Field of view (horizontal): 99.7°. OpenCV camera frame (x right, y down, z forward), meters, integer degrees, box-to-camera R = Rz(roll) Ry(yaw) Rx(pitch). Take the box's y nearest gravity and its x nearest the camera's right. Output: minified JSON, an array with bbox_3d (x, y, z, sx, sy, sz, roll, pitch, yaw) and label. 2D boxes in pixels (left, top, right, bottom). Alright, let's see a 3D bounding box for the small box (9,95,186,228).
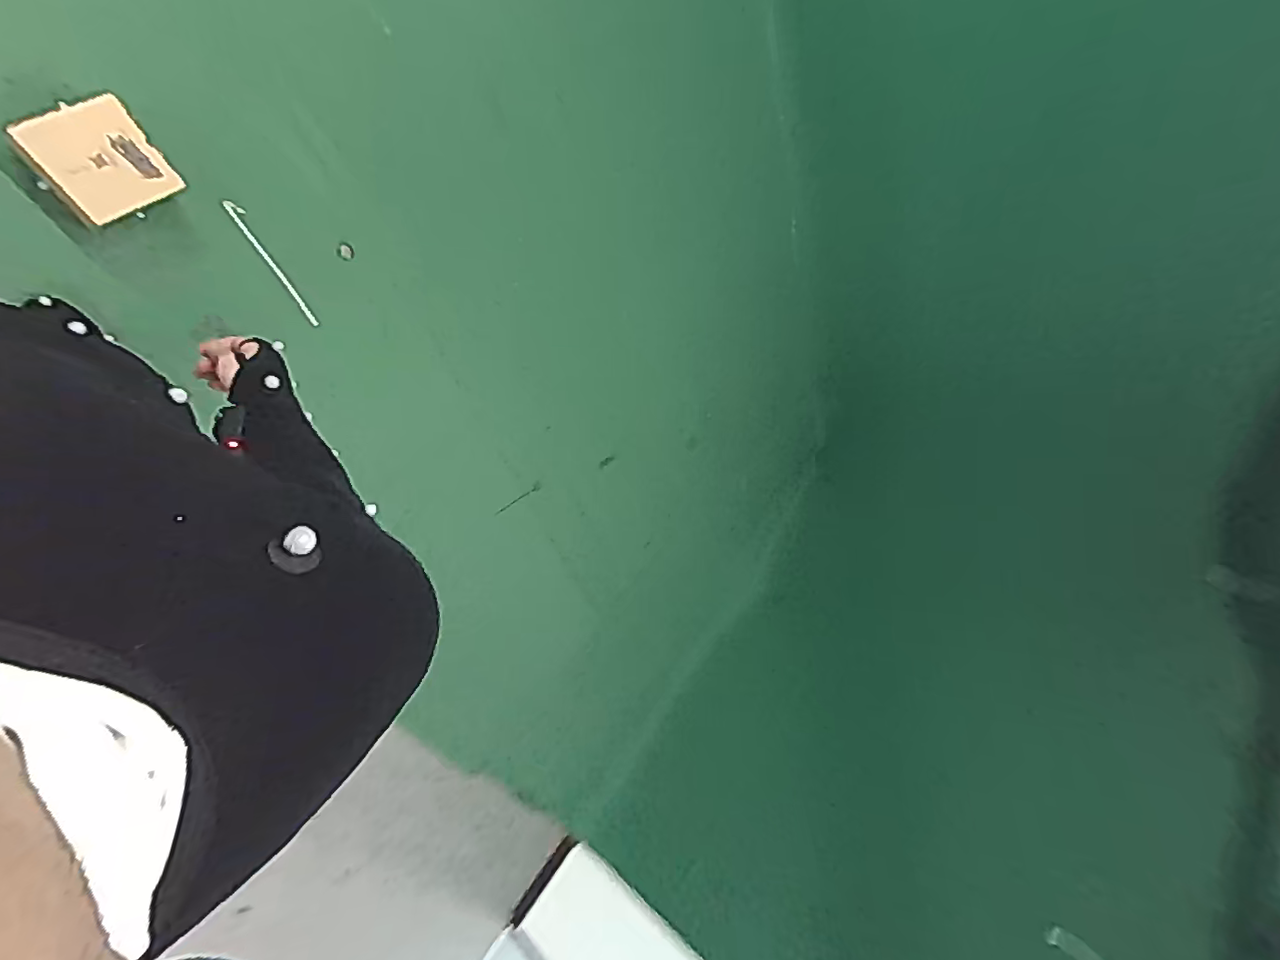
[{"bbox_3d":[-1.041,-0.606,1.042,0.179,0.176,0.168,-47,134,-25],"label":"small box"}]
